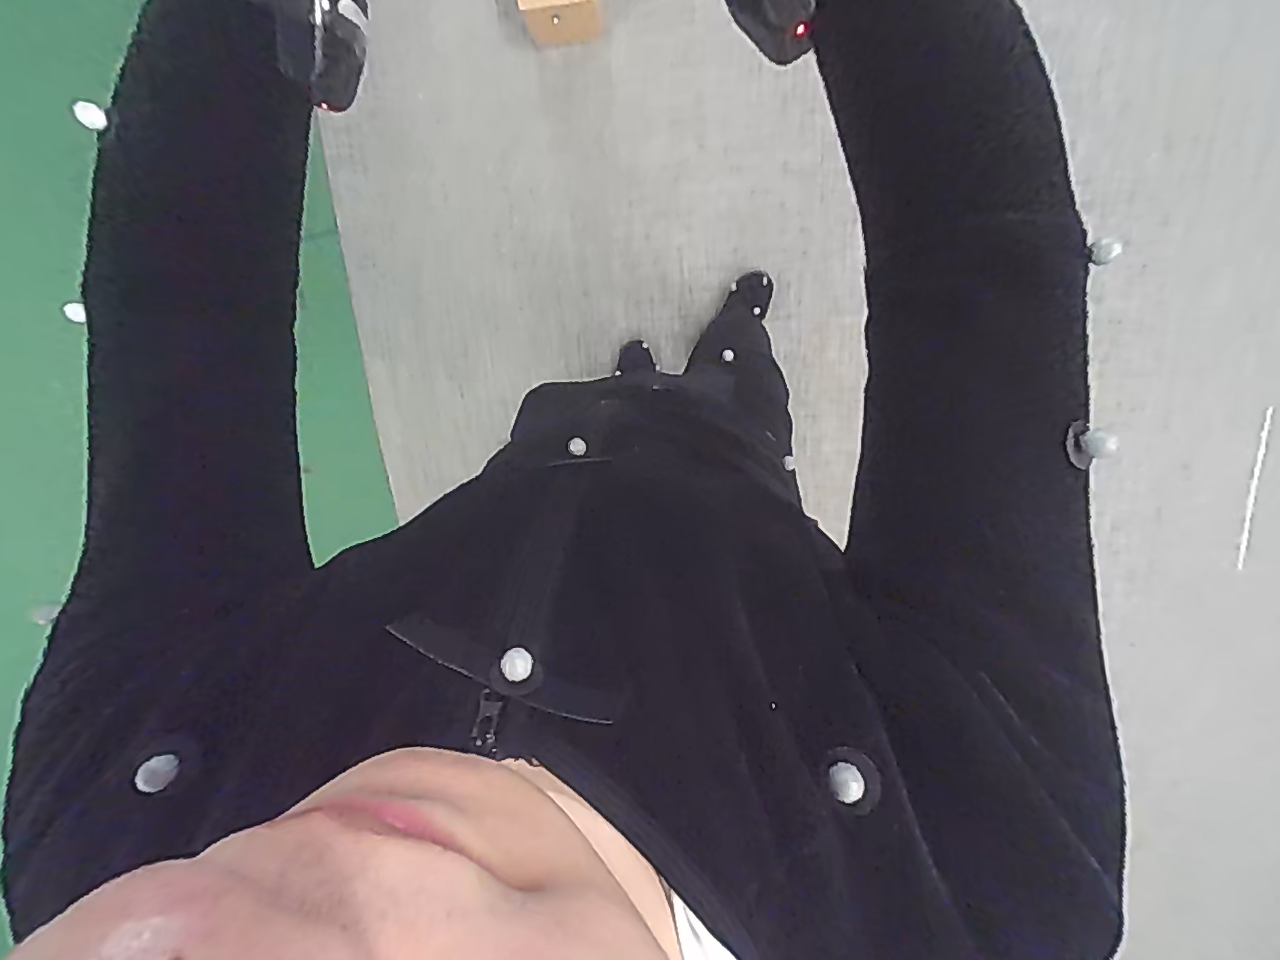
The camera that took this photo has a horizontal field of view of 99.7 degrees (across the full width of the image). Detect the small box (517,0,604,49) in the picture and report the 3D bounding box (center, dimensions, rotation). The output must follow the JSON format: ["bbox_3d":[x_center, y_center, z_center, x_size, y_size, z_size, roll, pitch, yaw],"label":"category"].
[{"bbox_3d":[-0.187,-1.152,1.268,0.179,0.176,0.168,-4,104,5],"label":"small box"}]
